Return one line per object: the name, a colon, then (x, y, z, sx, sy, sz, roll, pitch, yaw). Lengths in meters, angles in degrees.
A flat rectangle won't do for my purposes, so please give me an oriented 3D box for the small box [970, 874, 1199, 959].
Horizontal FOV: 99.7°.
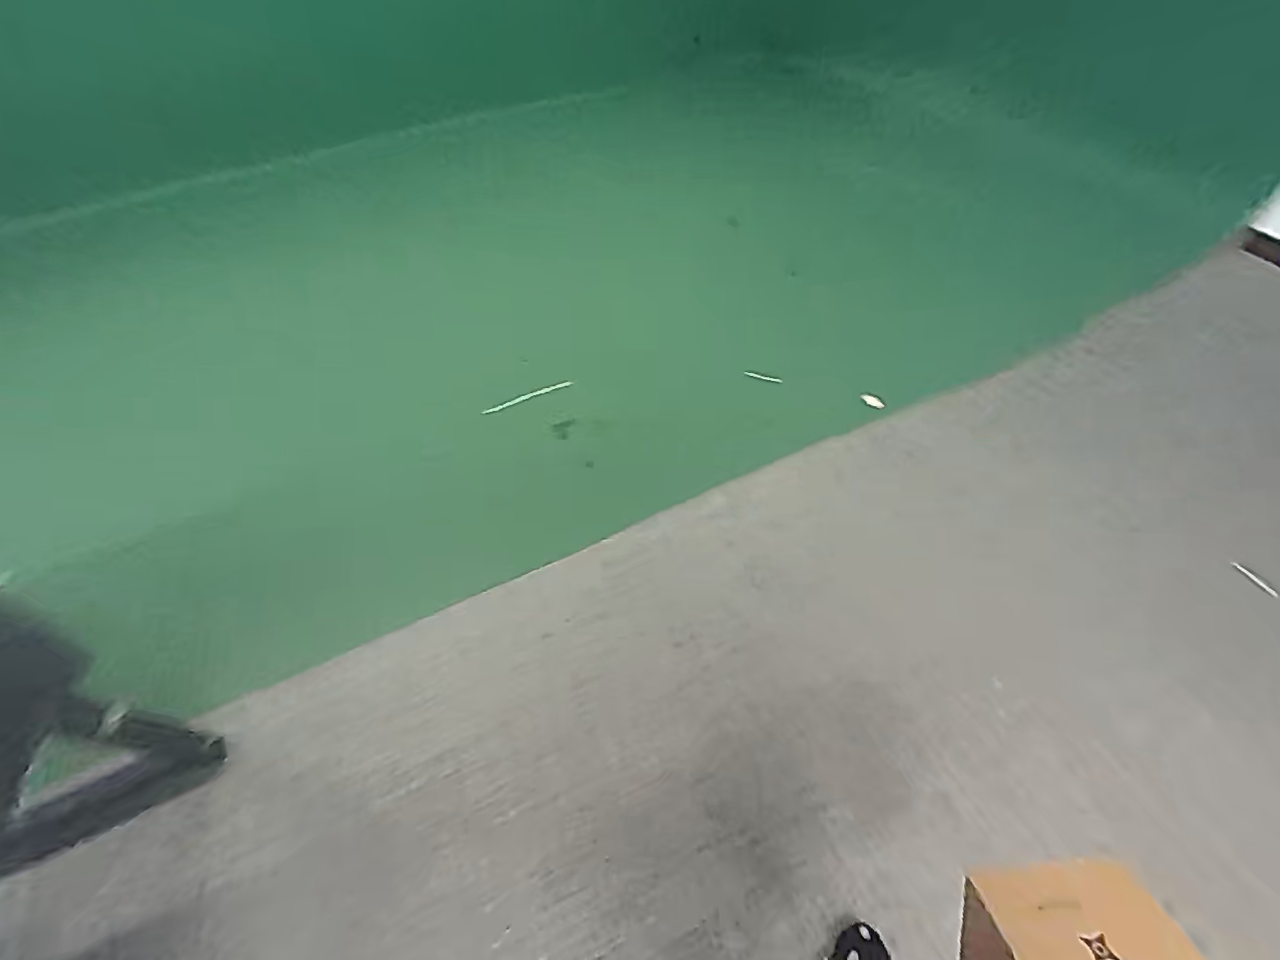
small box: (0.454, 0.538, 0.529, 0.168, 0.176, 0.179, -7, 17, 3)
